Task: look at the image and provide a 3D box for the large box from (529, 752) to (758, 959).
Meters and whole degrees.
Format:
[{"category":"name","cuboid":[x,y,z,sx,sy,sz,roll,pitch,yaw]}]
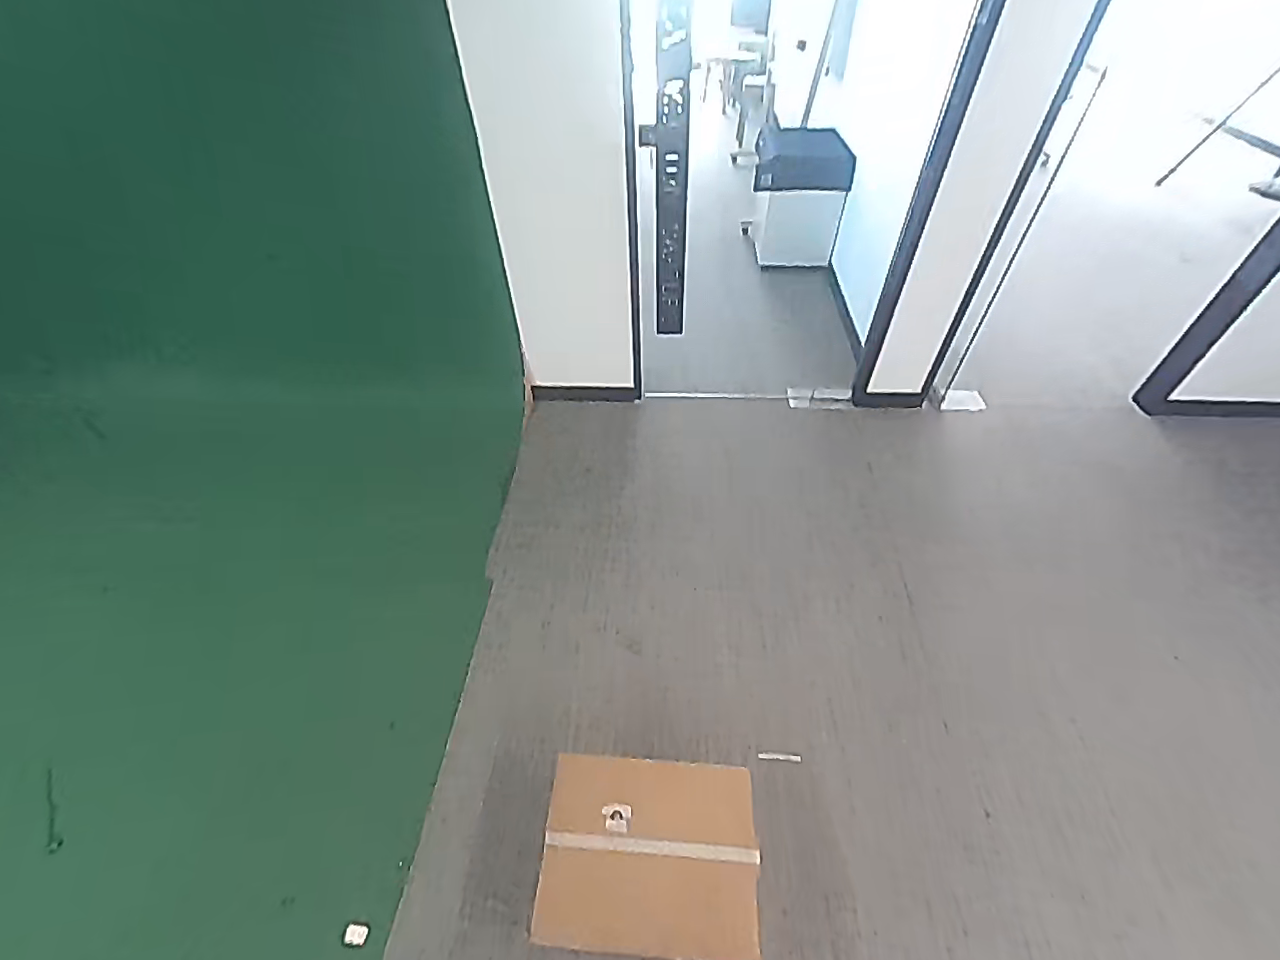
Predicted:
[{"category":"large box","cuboid":[0.020,0.793,1.137,0.408,0.320,0.320,2,47,5]}]
